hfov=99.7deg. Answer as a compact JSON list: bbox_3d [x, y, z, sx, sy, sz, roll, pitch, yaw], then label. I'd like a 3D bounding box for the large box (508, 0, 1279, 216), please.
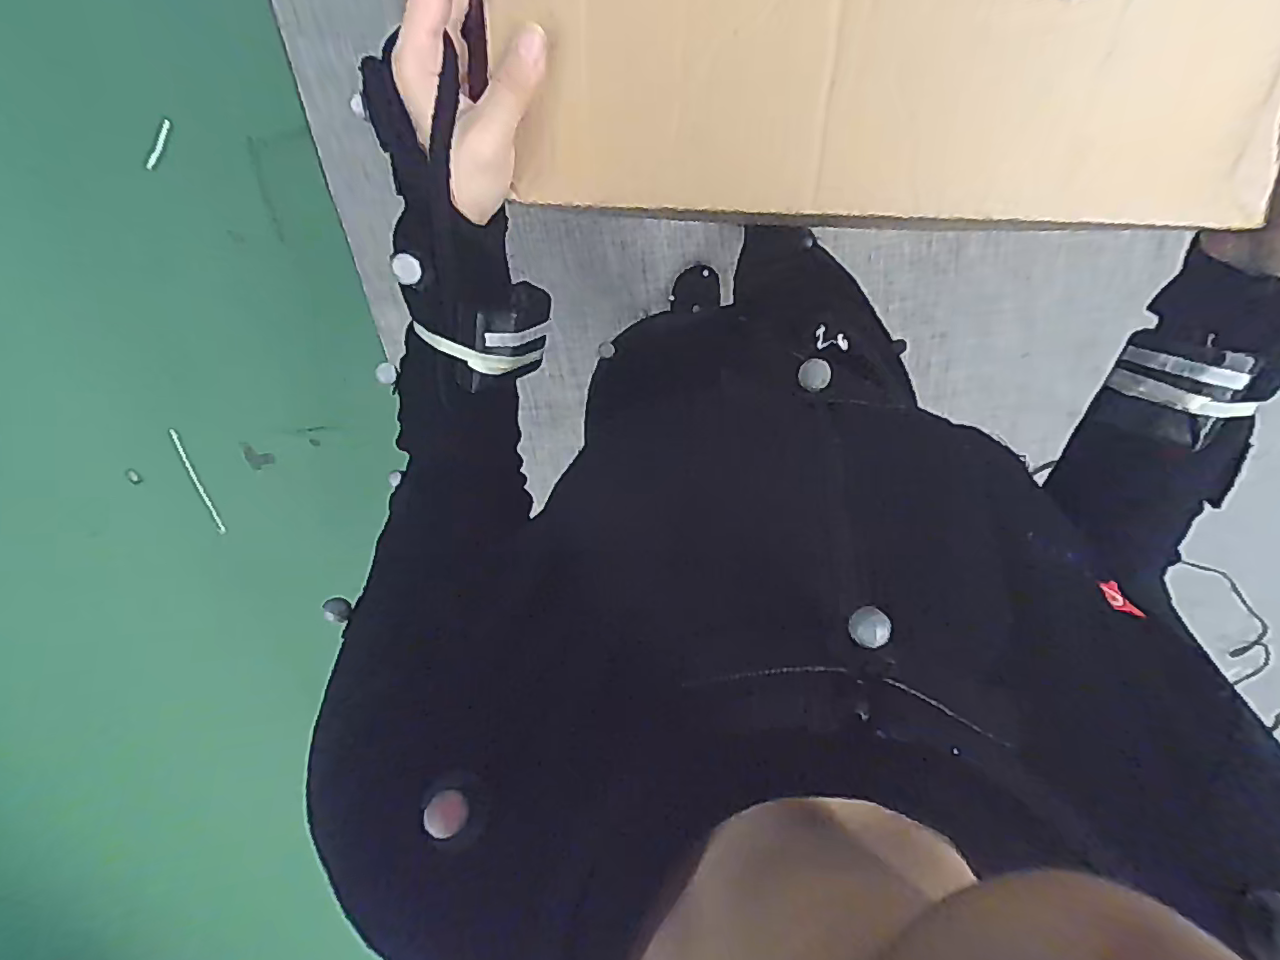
[{"bbox_3d":[0.136,-0.355,0.364,0.408,0.320,0.320,2,115,1],"label":"large box"}]
